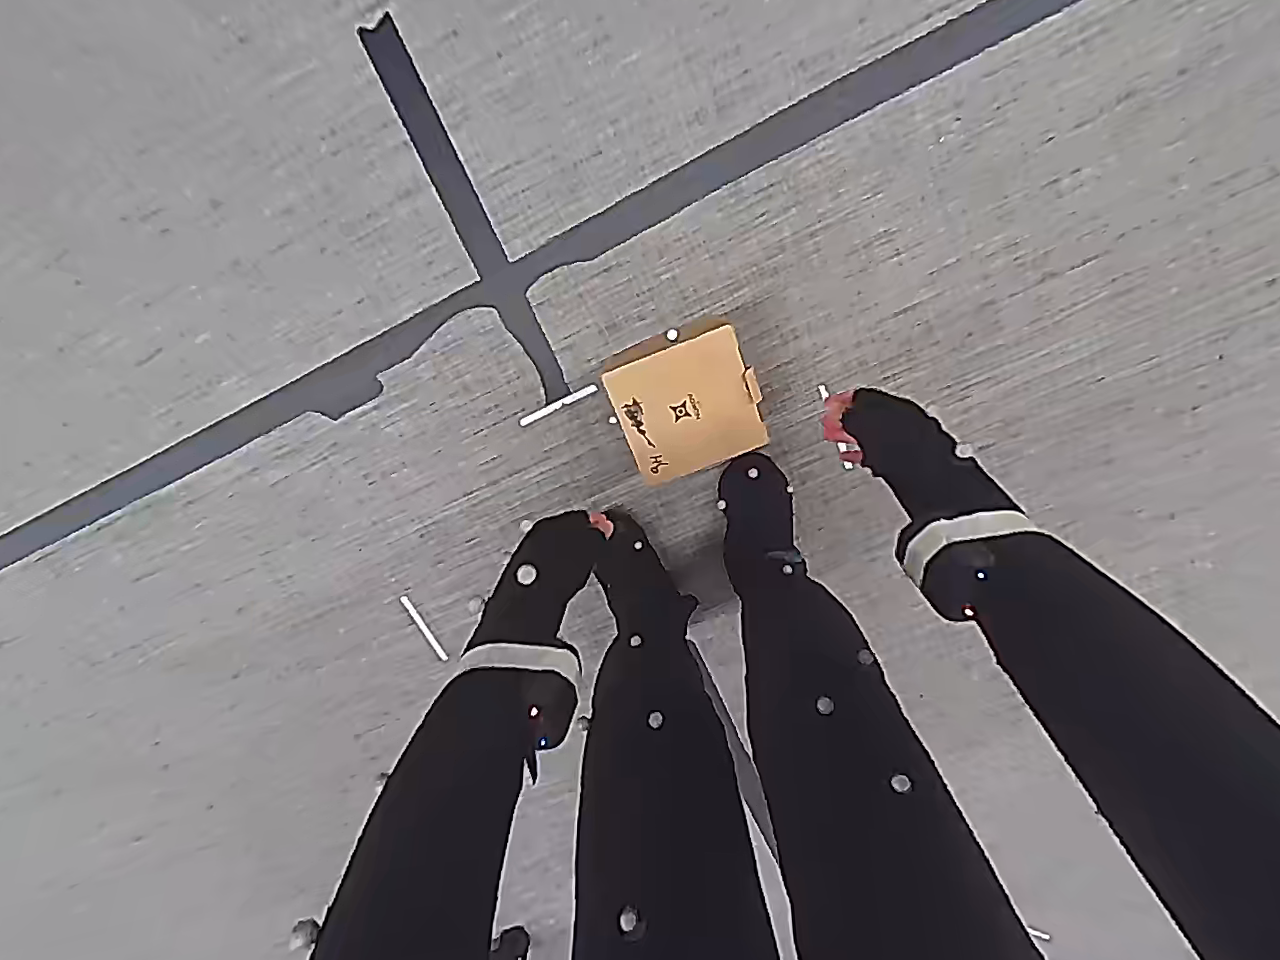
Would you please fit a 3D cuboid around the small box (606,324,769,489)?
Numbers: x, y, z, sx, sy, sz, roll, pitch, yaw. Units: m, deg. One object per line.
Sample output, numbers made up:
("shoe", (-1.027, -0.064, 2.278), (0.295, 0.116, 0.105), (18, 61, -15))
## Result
("small box", (0.060, -0.113, 0.769), (0.179, 0.176, 0.168), (-20, 109, 6))
